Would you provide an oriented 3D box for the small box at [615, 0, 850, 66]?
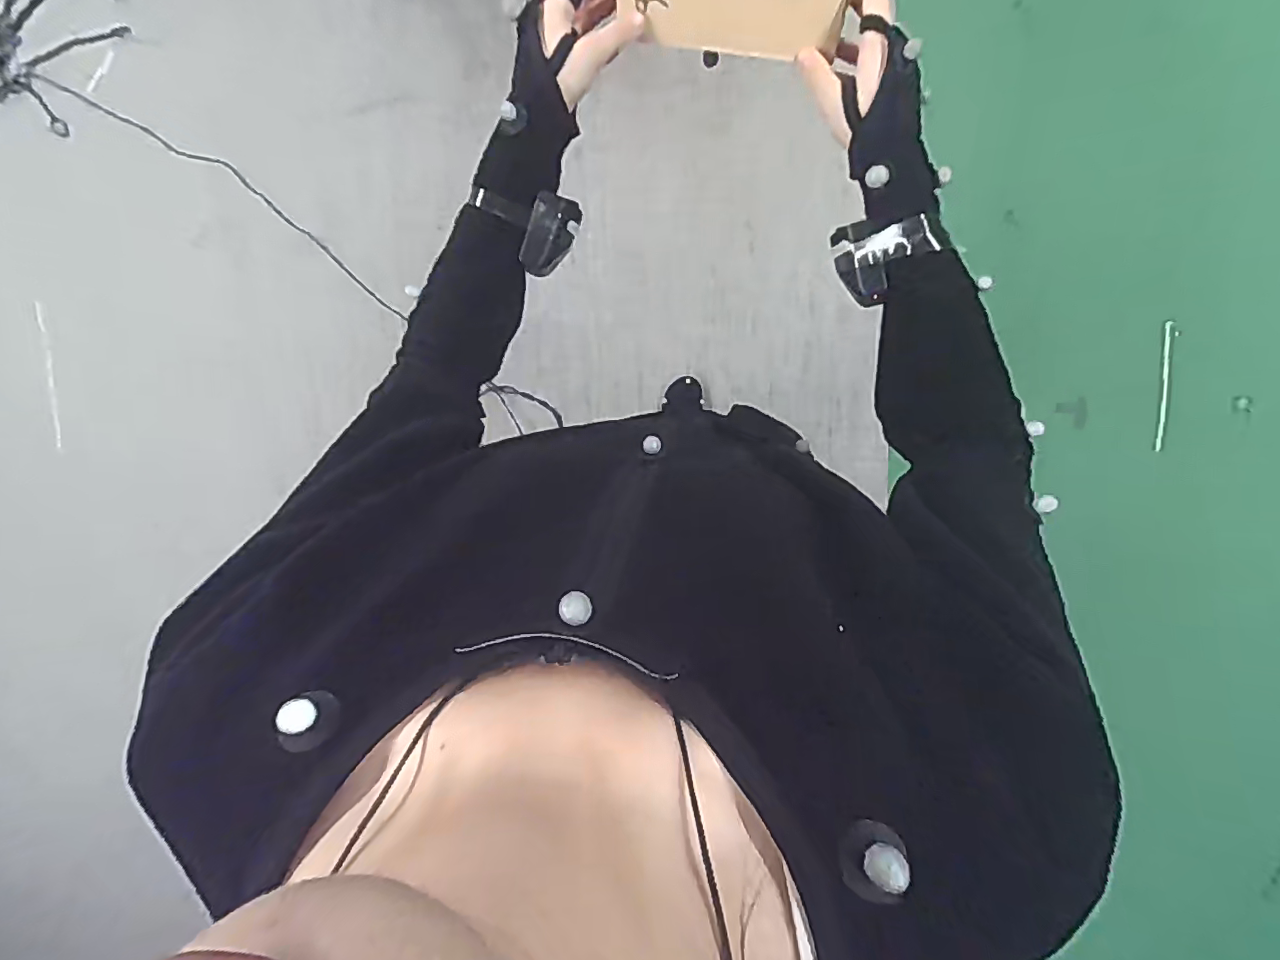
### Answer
[{"bbox_3d":[0.076,-0.448,0.428,0.179,0.176,0.168,5,130,-3],"label":"small box"}]
